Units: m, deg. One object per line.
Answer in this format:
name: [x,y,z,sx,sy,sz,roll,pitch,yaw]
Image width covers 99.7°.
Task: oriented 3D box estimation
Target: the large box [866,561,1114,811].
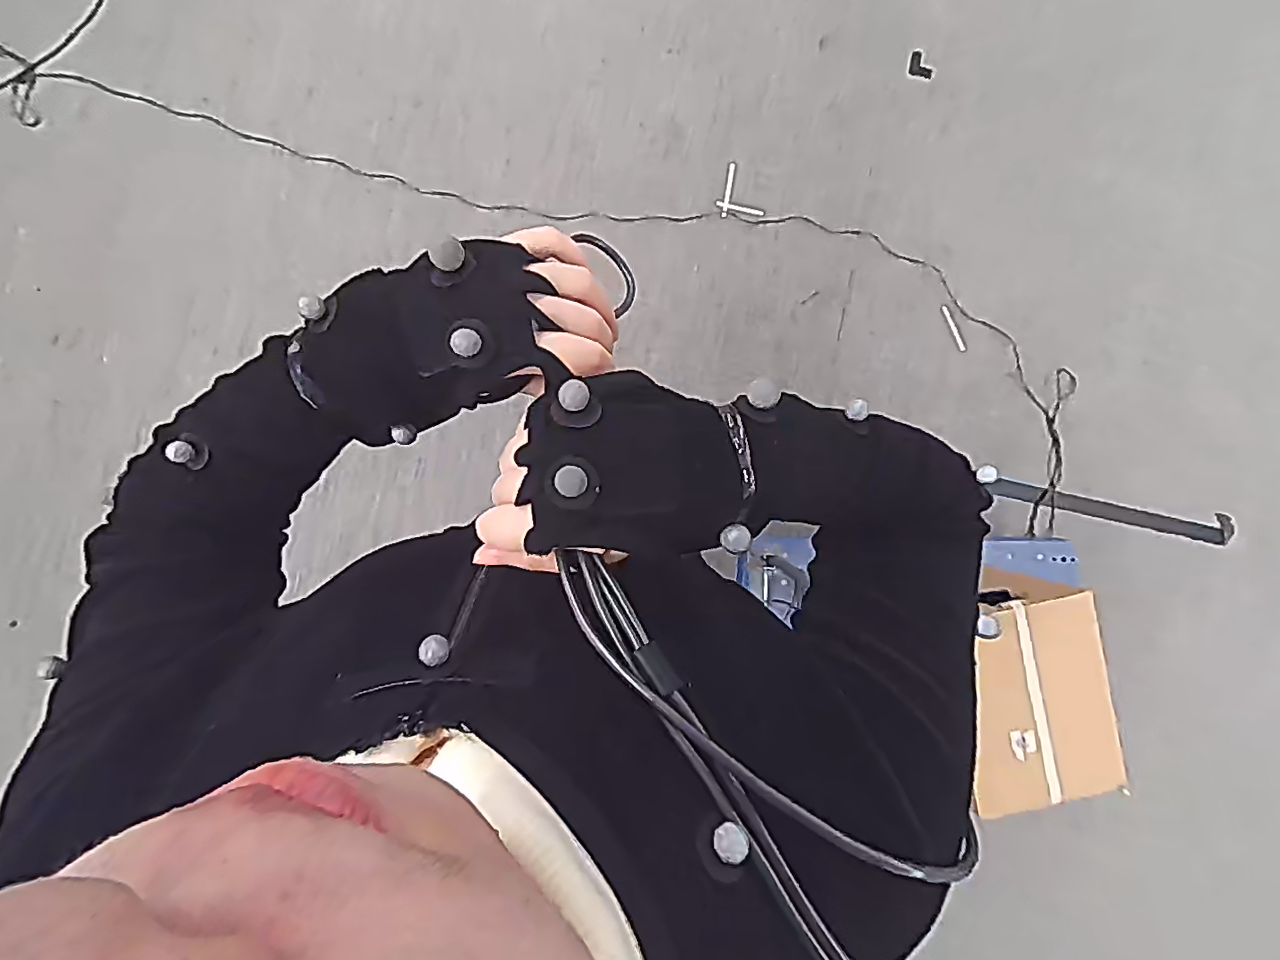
large box: [0.758,0.431,1.220,0.320,0.320,0.408,-11,92,-2]
